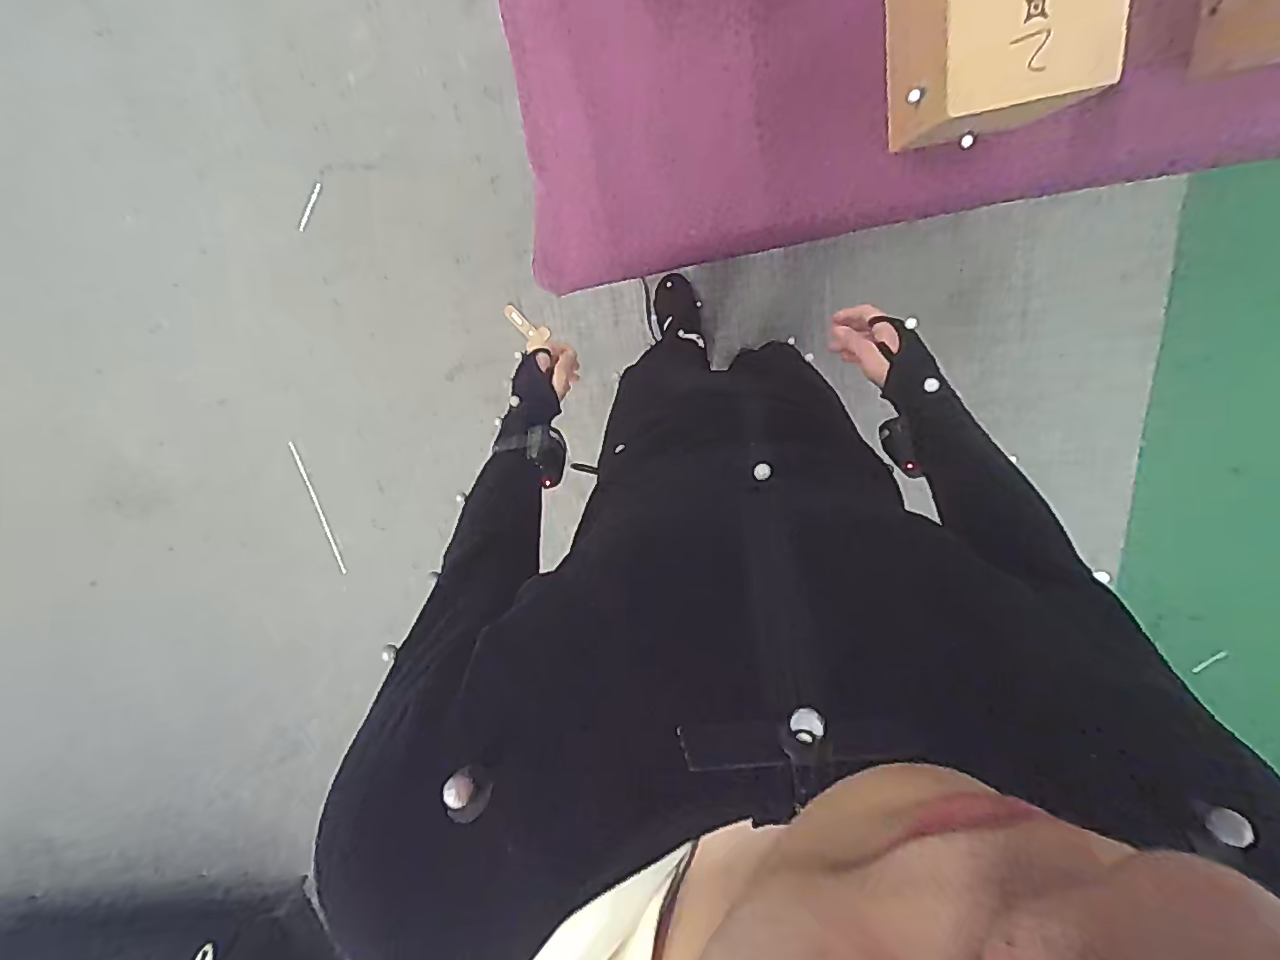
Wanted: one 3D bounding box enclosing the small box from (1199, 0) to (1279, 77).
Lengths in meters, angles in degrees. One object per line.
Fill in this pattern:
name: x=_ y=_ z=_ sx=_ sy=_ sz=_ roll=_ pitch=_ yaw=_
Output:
small box: x=0.735 y=-0.537 z=0.541 sx=0.179 sy=0.176 sz=0.168 roll=-6 pitch=109 yaw=7
